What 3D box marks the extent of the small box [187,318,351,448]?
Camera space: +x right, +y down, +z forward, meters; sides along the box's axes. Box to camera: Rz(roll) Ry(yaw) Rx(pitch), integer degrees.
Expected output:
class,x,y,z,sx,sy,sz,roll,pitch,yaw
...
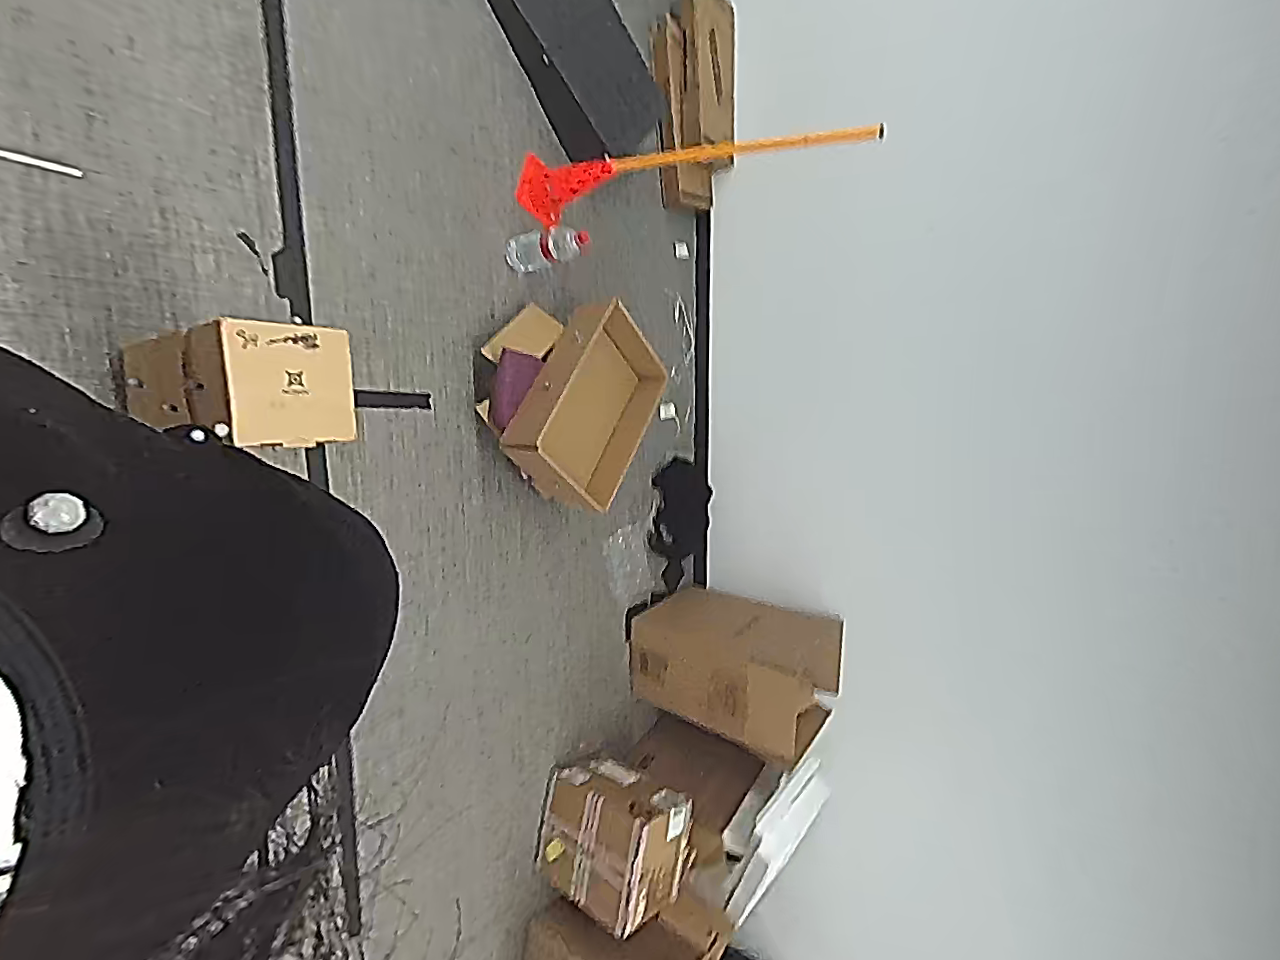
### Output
class,x,y,z,sx,sy,sz,roll,pitch,yaw
small box,-0.575,-0.147,0.842,0.168,0.176,0.179,-10,104,-52

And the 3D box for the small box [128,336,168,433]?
class,x,y,z,sx,sy,sz,roll,pitch,yaw
small box,-0.838,-0.176,1.033,0.179,0.176,0.168,-8,100,-52

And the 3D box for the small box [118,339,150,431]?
class,x,y,z,sx,sy,sz,roll,pitch,yaw
small box,-0.965,-0.191,1.136,0.168,0.176,0.179,-8,101,-52

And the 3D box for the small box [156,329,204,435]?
class,x,y,z,sx,sy,sz,roll,pitch,yaw
small box,-0.707,-0.162,0.938,0.179,0.176,0.168,-10,103,-53
